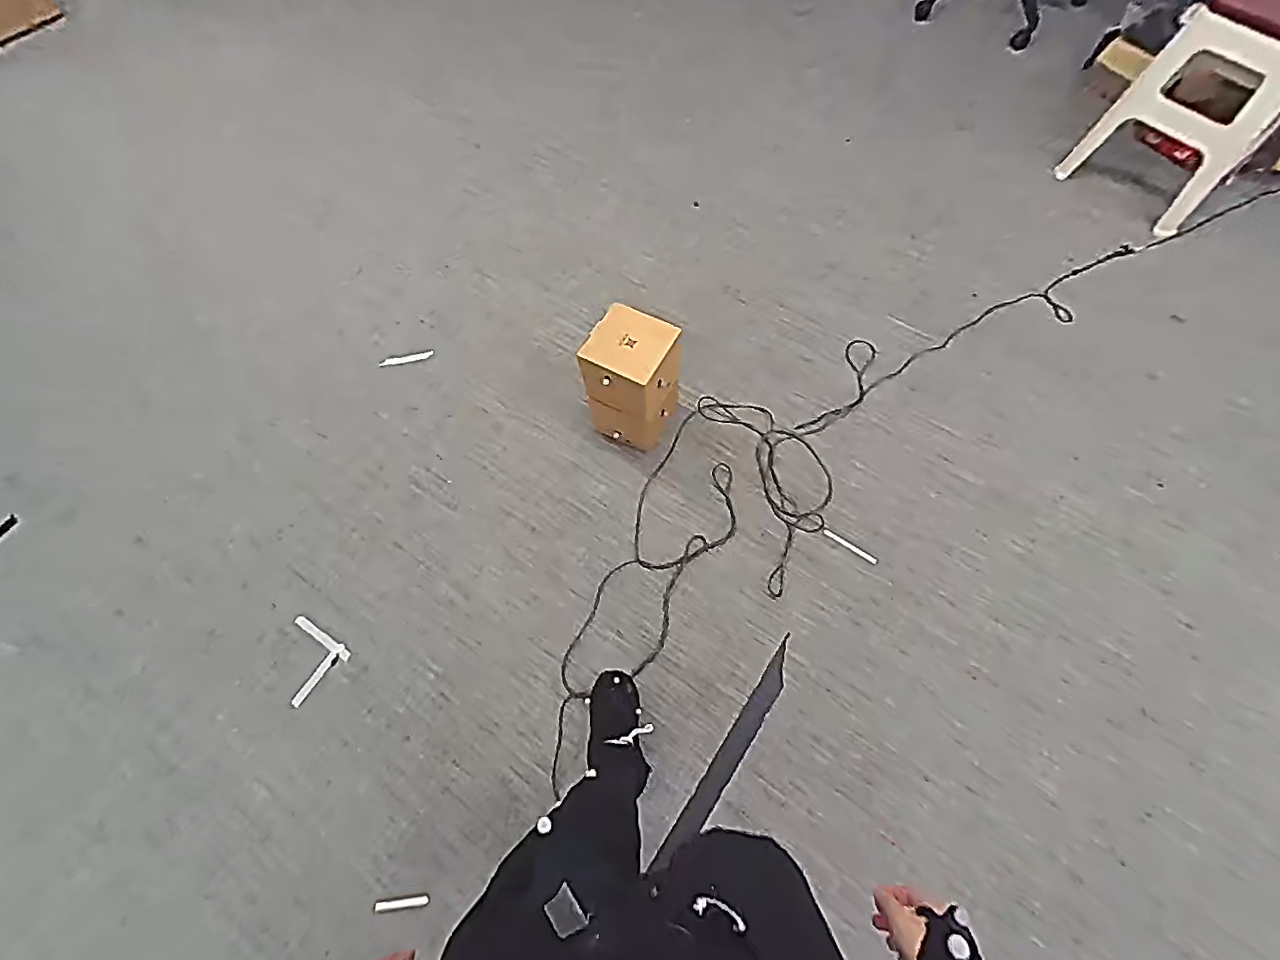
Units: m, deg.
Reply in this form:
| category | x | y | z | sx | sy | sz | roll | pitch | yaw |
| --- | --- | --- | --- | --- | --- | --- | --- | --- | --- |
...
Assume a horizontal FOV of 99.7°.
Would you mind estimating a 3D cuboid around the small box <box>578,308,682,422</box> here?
| category | x | y | z | sx | sy | sz | roll | pitch | yaw |
| --- | --- | --- | --- | --- | --- | --- | --- | --- | --- |
| small box | -0.015 | -0.256 | 1.246 | 0.179 | 0.176 | 0.168 | 26 | 72 | 15 |

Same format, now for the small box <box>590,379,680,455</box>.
| category | x | y | z | sx | sy | sz | roll | pitch | yaw |
| --- | --- | --- | --- | --- | --- | --- | --- | --- | --- |
| small box | -0.008 | -0.194 | 1.395 | 0.168 | 0.176 | 0.179 | 24 | 71 | 14 |
